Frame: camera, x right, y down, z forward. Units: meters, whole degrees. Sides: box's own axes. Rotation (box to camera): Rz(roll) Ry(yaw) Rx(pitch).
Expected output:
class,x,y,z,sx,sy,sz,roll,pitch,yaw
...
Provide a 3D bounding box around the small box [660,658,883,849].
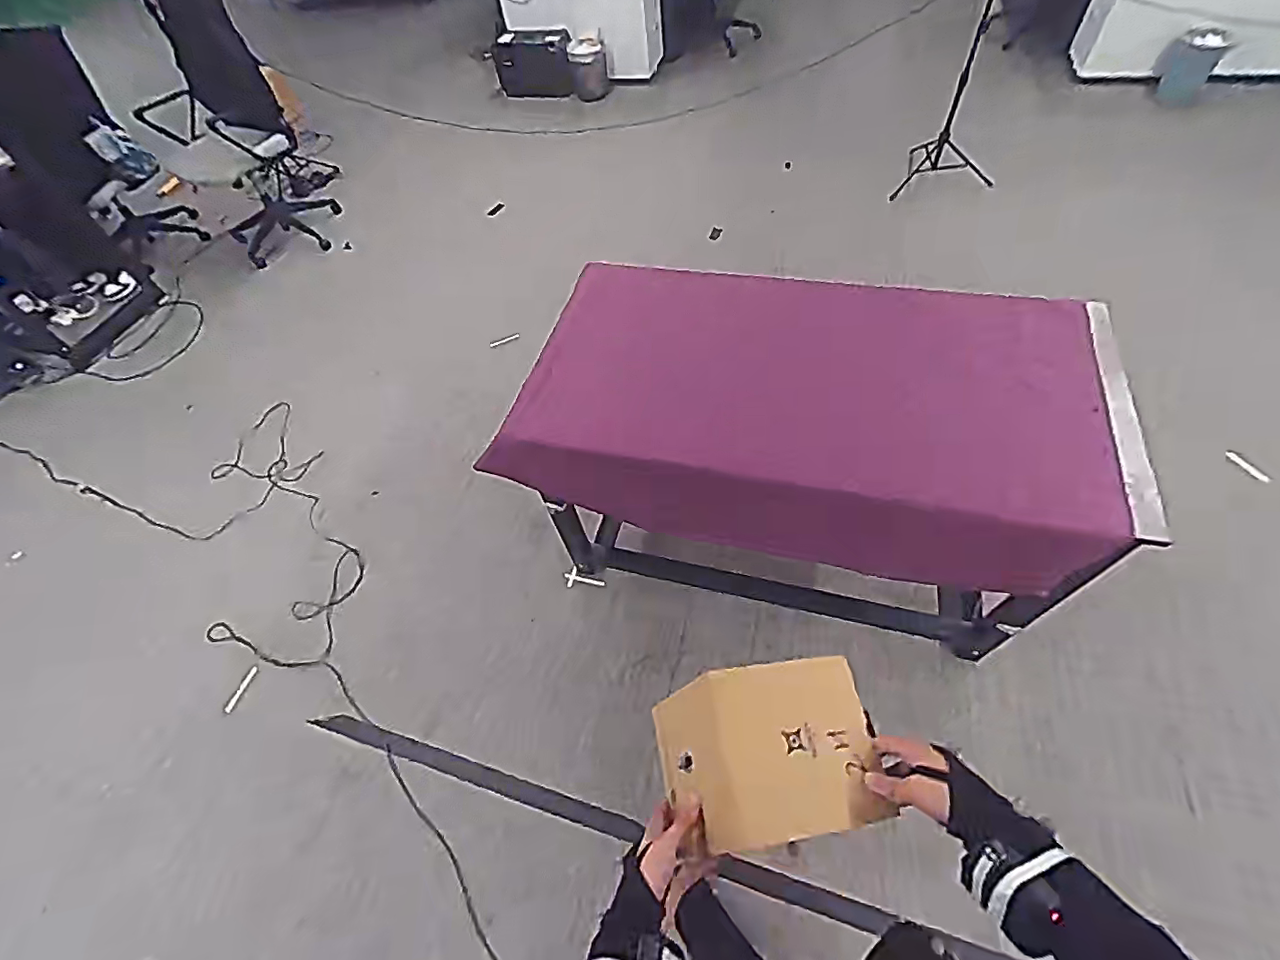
class,x,y,z,sx,sy,sz,roll,pitch,yaw
small box,0.134,0.318,0.632,0.179,0.176,0.168,4,55,-22
